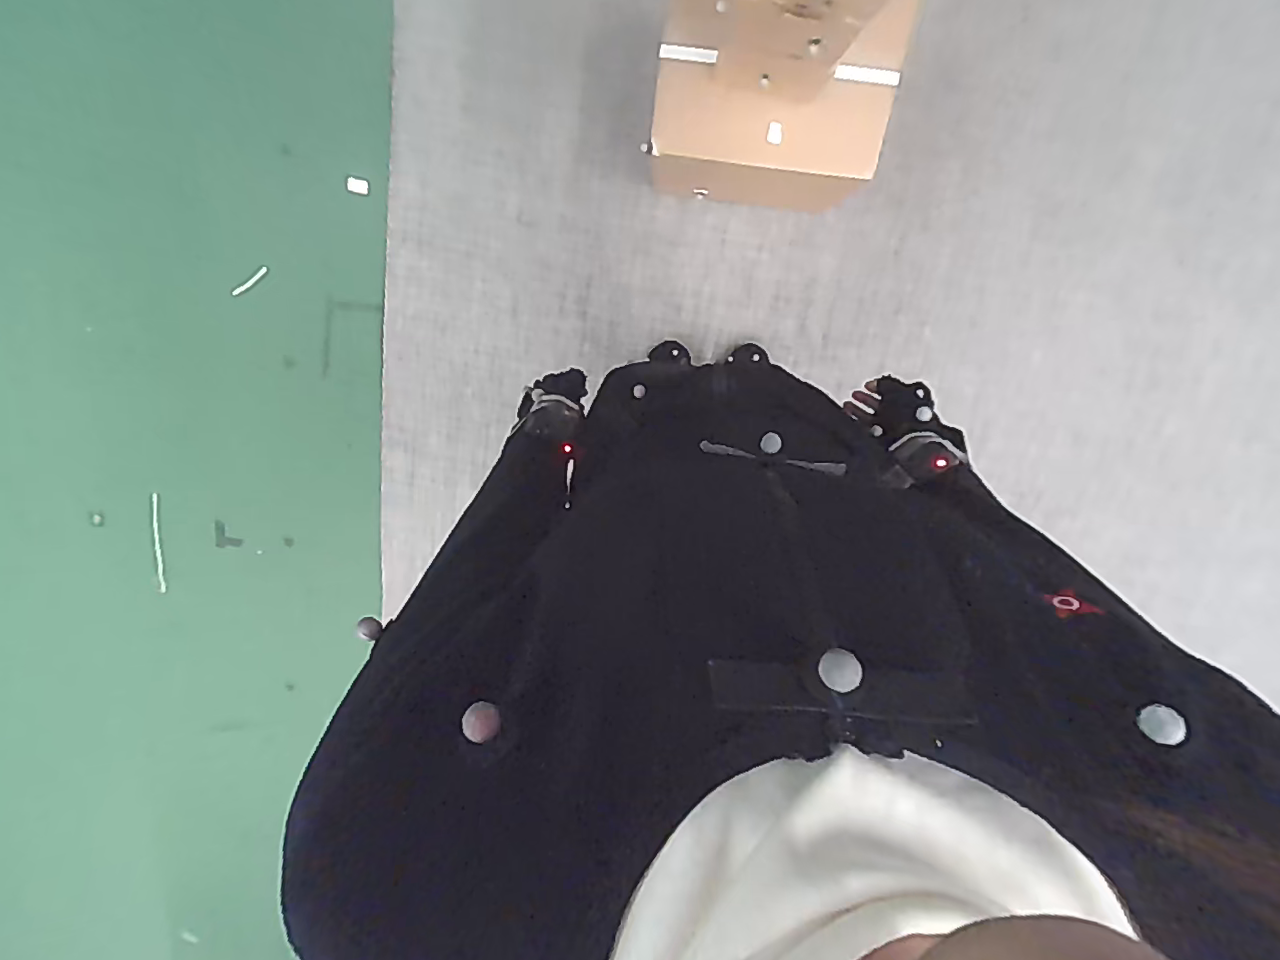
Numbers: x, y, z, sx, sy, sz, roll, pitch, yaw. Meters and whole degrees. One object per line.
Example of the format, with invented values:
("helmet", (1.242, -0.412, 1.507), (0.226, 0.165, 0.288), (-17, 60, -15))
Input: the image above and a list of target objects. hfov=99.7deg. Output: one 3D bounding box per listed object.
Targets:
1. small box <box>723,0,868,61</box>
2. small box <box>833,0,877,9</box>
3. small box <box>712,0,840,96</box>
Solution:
("small box", (0.204, -0.660, 0.671), (0.168, 0.176, 0.179), (10, 111, -2))
("small box", (0.203, -0.602, 0.517), (0.168, 0.176, 0.179), (12, 113, -2))
("small box", (0.218, -0.714, 0.819), (0.179, 0.176, 0.168), (15, 111, -2))
